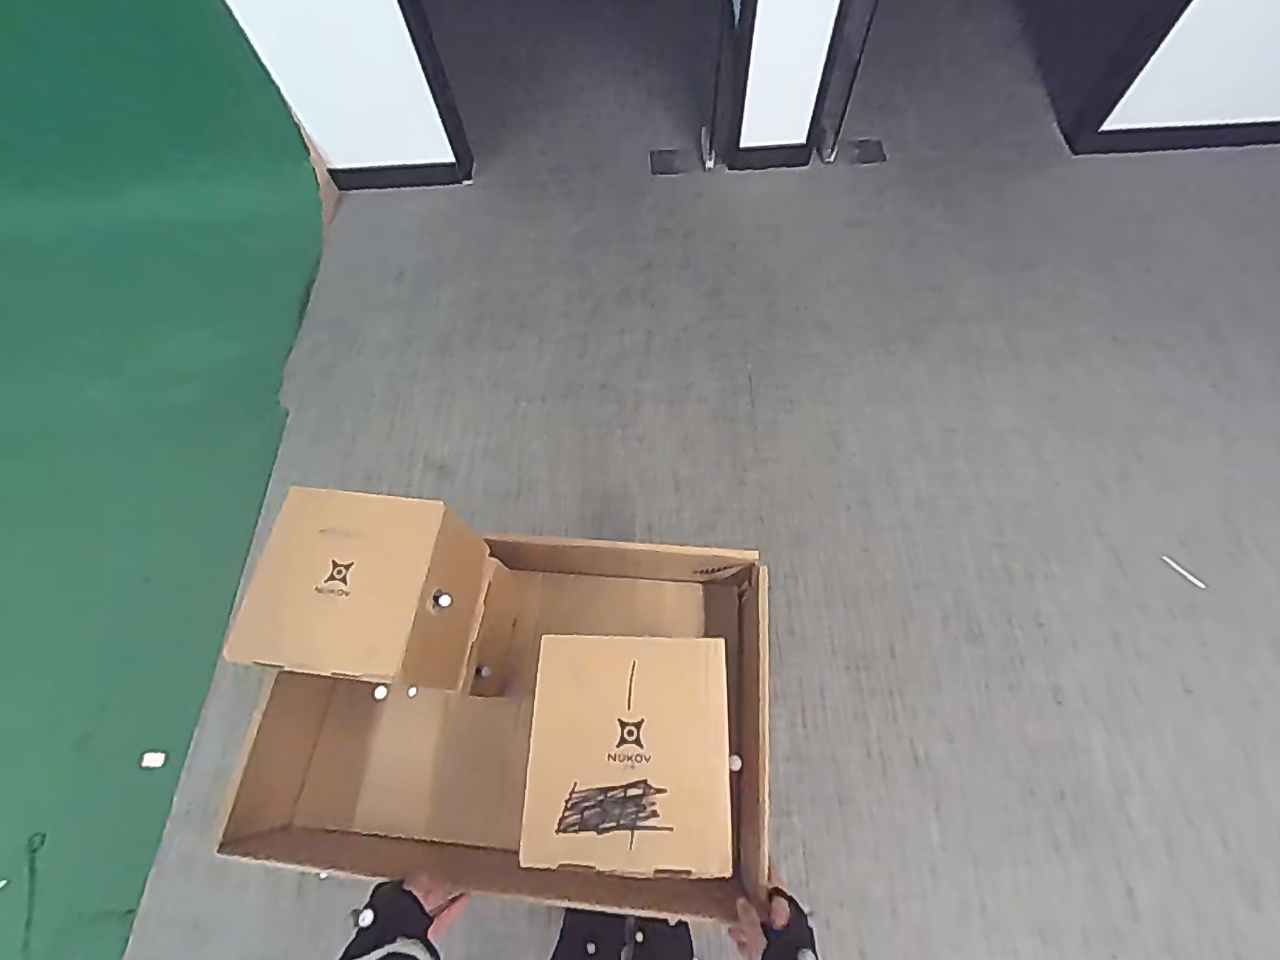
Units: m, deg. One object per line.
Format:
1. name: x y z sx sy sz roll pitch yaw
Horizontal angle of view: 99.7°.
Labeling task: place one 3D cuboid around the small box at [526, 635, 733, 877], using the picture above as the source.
1. small box: -0.001 0.252 0.520 0.168 0.176 0.179 0 65 3

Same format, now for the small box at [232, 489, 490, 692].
1. small box: -0.278 0.128 0.590 0.168 0.176 0.179 6 66 4
